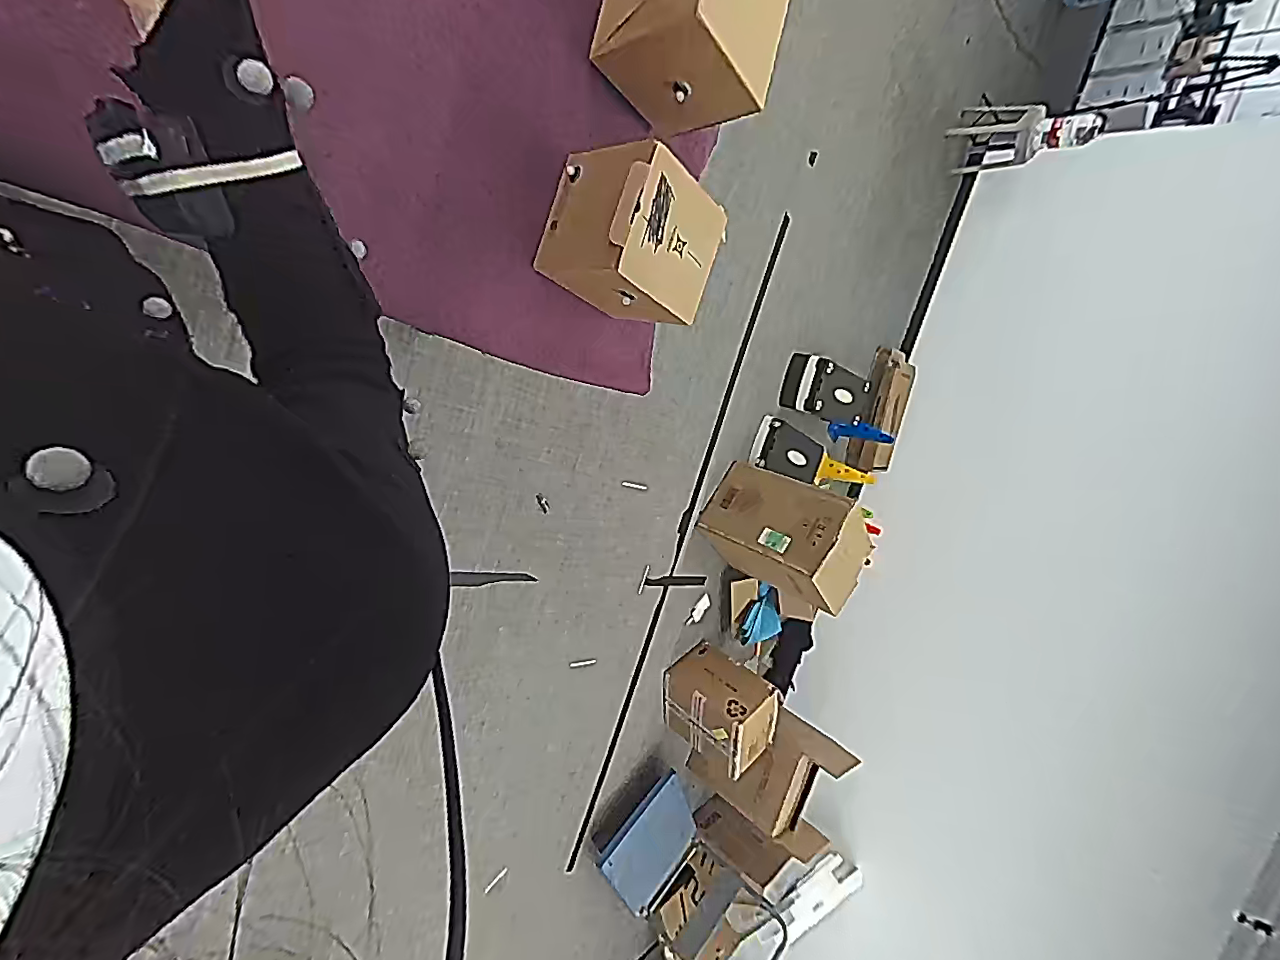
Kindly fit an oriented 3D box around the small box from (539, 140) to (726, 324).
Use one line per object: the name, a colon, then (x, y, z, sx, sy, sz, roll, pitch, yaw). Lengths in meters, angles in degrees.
small box: (-0.013, -0.336, 0.761, 0.179, 0.176, 0.168, 16, 94, -51)
